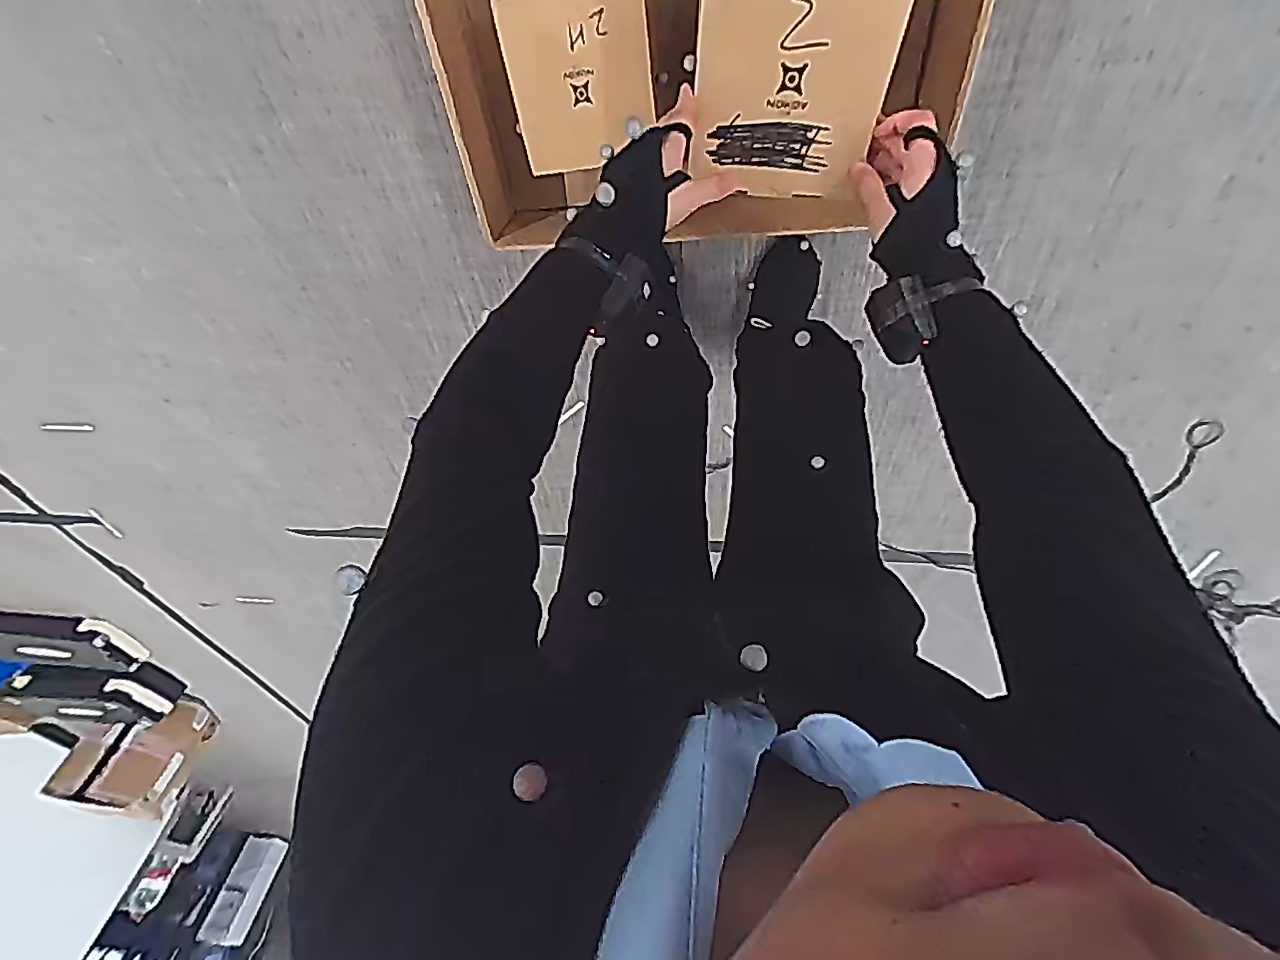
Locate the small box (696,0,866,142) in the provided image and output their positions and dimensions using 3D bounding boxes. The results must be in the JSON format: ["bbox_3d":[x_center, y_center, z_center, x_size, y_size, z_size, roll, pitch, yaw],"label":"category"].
[{"bbox_3d":[0.156,-0.520,0.633,0.168,0.176,0.179,5,137,6],"label":"small box"}]

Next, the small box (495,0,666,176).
[{"bbox_3d":[-0.058,-0.507,0.673,0.168,0.176,0.179,-3,134,8],"label":"small box"}]
